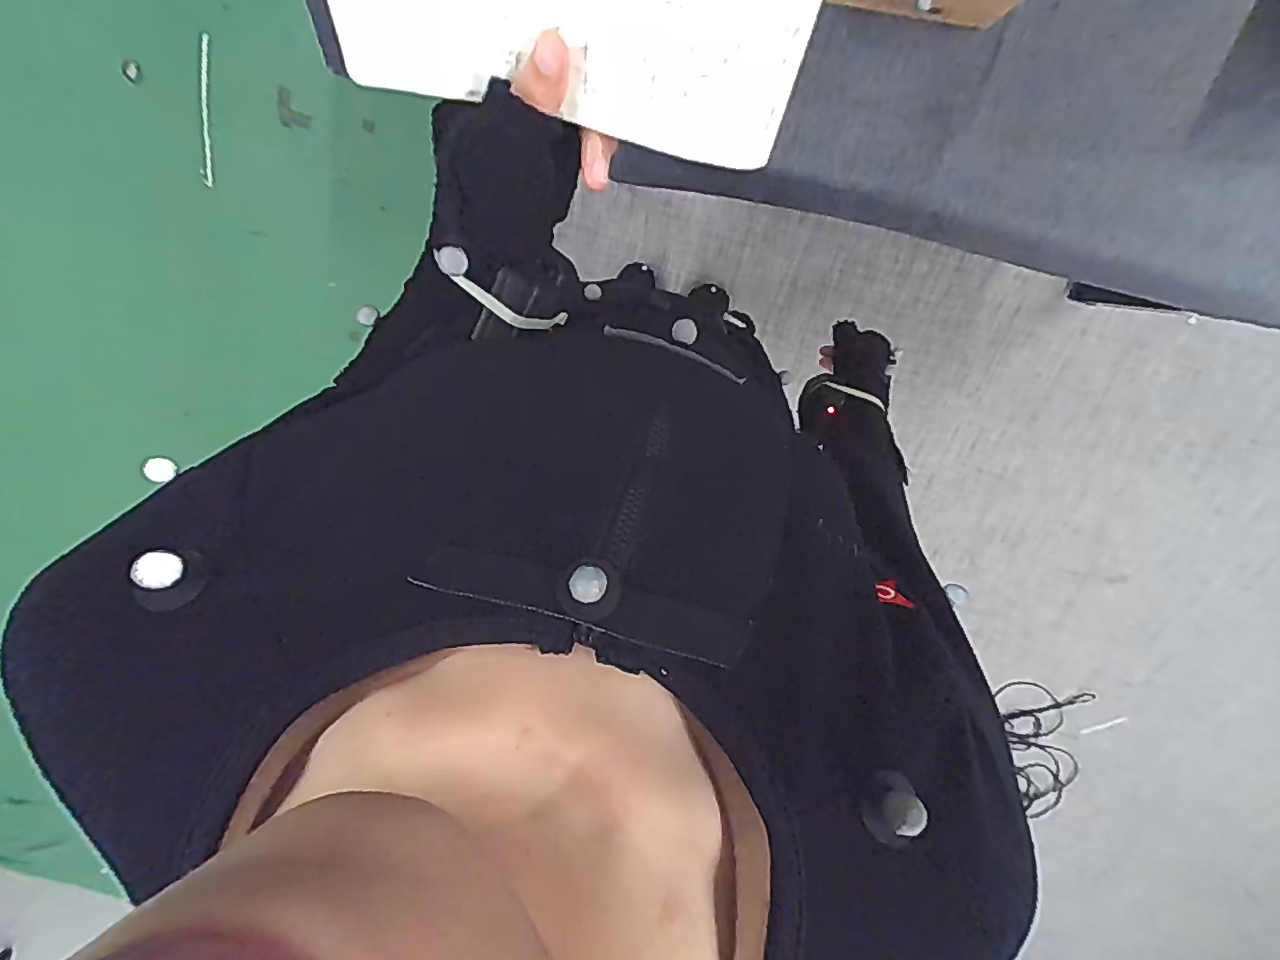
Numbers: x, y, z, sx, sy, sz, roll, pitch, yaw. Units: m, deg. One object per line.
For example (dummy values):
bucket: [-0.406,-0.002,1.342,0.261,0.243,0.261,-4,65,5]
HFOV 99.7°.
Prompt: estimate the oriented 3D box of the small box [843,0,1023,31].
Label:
small box: [0.277,-0.514,0.437,0.168,0.176,0.179,10,112,1]
